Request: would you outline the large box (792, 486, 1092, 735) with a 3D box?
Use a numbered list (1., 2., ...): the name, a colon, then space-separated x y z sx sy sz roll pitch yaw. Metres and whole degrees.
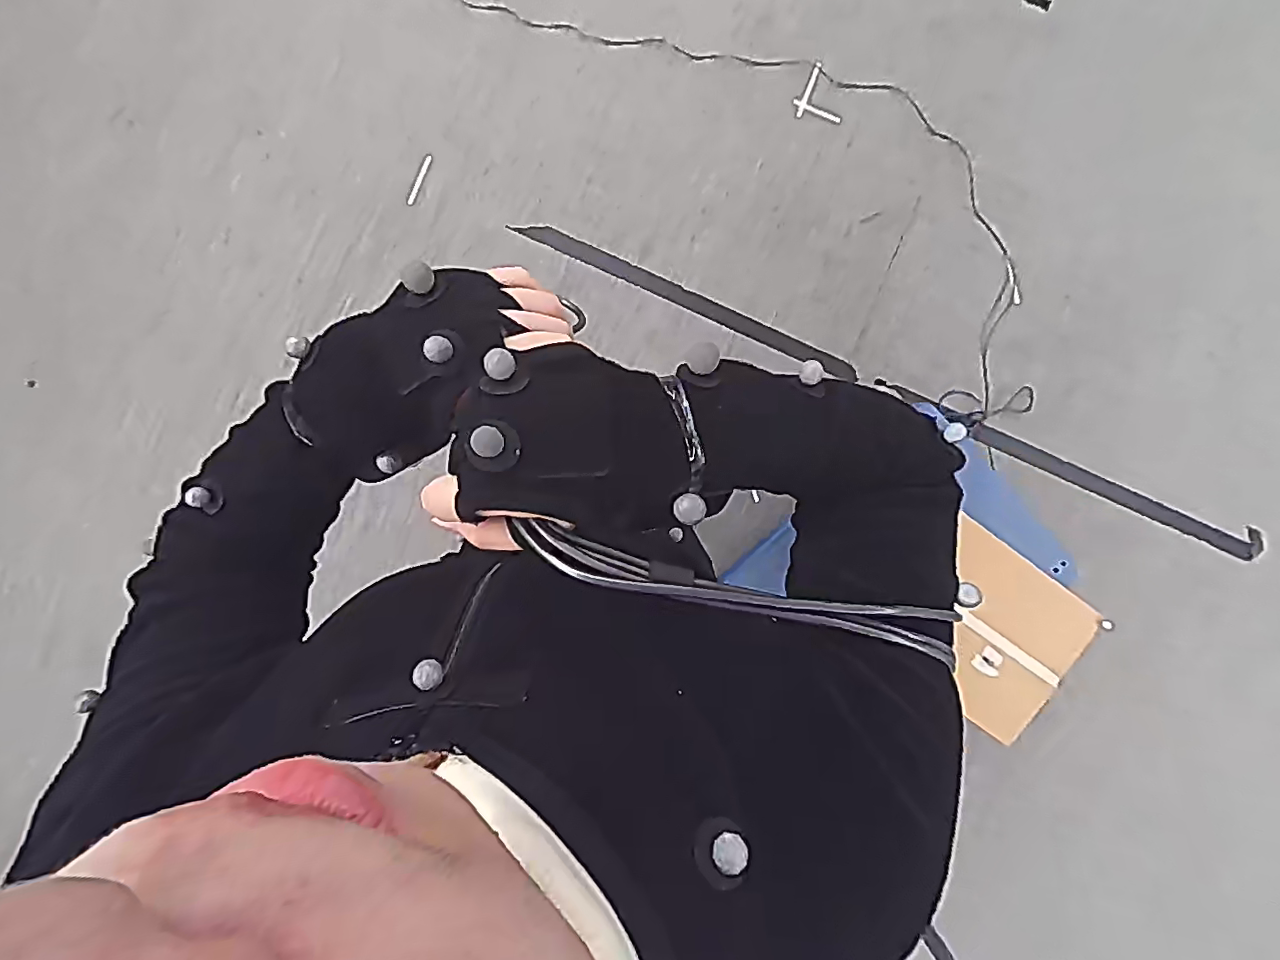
1. large box: 0.615 0.251 1.176 0.408 0.320 0.320 36 92 -3
